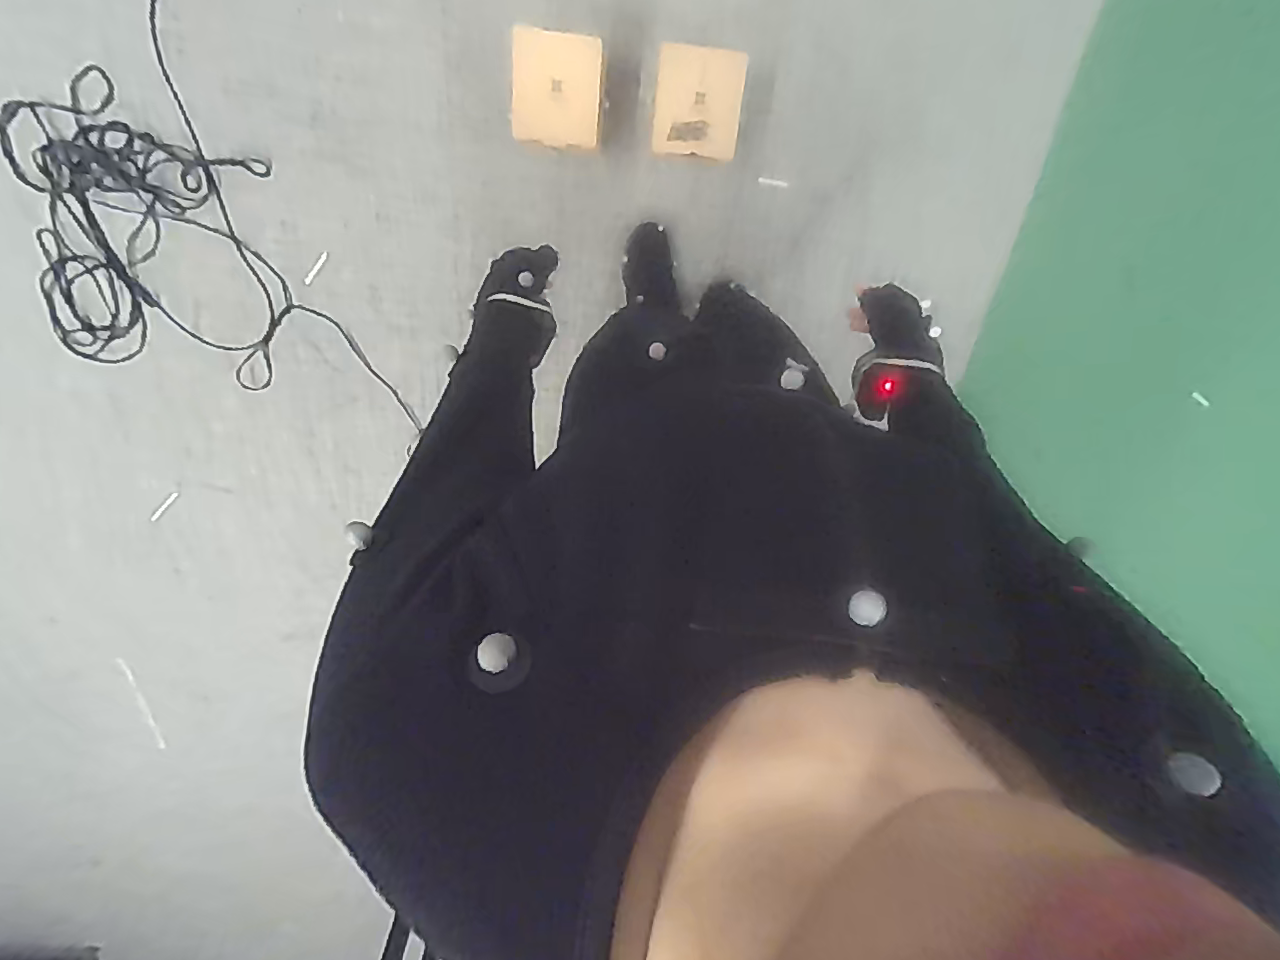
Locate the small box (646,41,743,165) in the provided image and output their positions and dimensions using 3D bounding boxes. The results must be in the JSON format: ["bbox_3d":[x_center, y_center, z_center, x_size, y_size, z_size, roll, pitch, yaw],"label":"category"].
[{"bbox_3d":[0.102,-0.753,1.098,0.168,0.176,0.179,4,116,-3],"label":"small box"}]

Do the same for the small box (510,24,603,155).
[{"bbox_3d":[-0.164,-0.771,1.086,0.168,0.176,0.179,5,116,-3],"label":"small box"}]
